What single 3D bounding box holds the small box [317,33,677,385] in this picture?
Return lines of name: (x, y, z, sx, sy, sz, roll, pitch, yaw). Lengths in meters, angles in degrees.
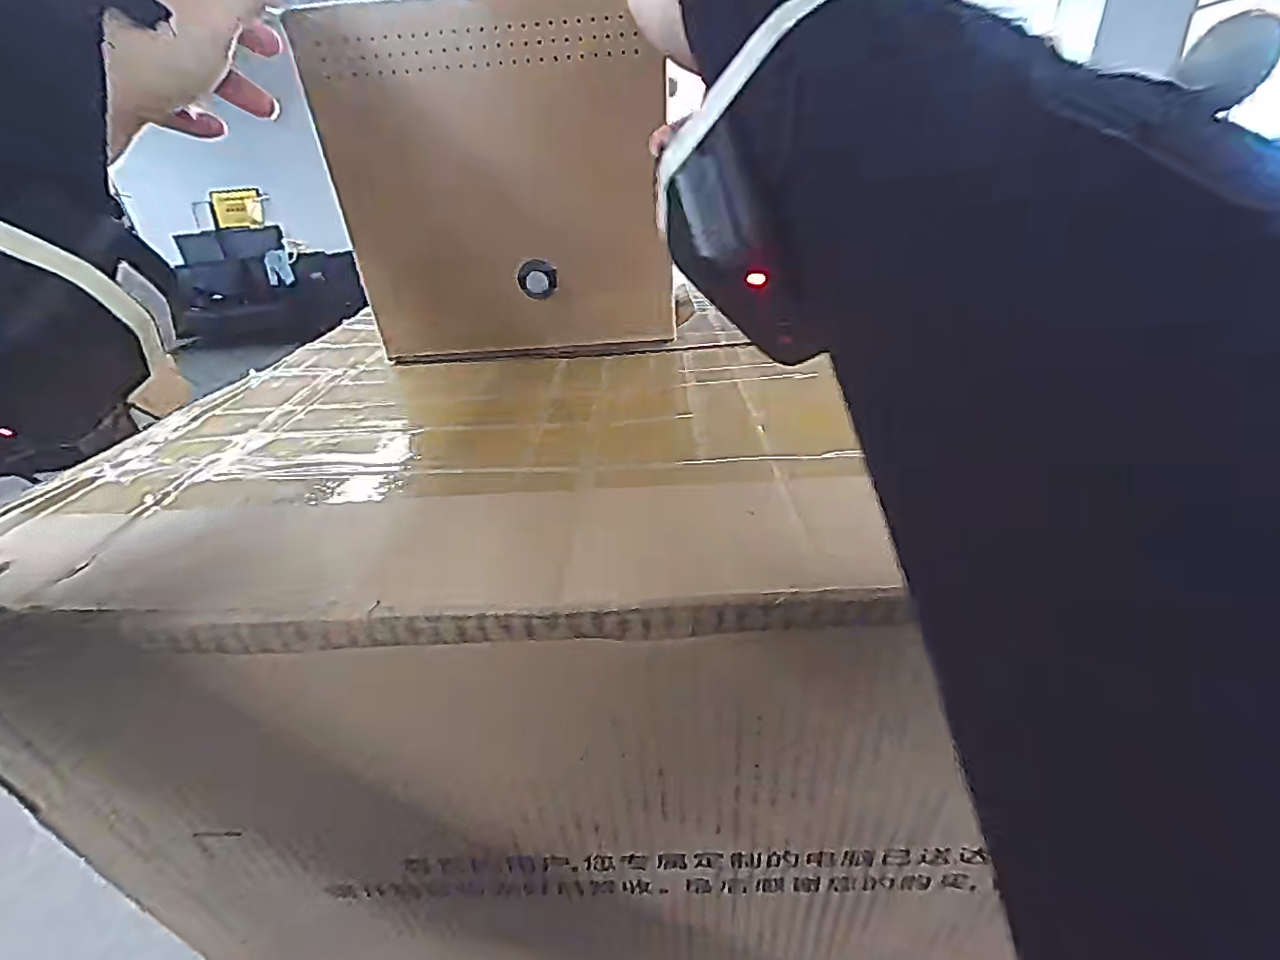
small box: (-0.070, -0.178, 0.363, 0.179, 0.176, 0.168, -3, 30, 1)
